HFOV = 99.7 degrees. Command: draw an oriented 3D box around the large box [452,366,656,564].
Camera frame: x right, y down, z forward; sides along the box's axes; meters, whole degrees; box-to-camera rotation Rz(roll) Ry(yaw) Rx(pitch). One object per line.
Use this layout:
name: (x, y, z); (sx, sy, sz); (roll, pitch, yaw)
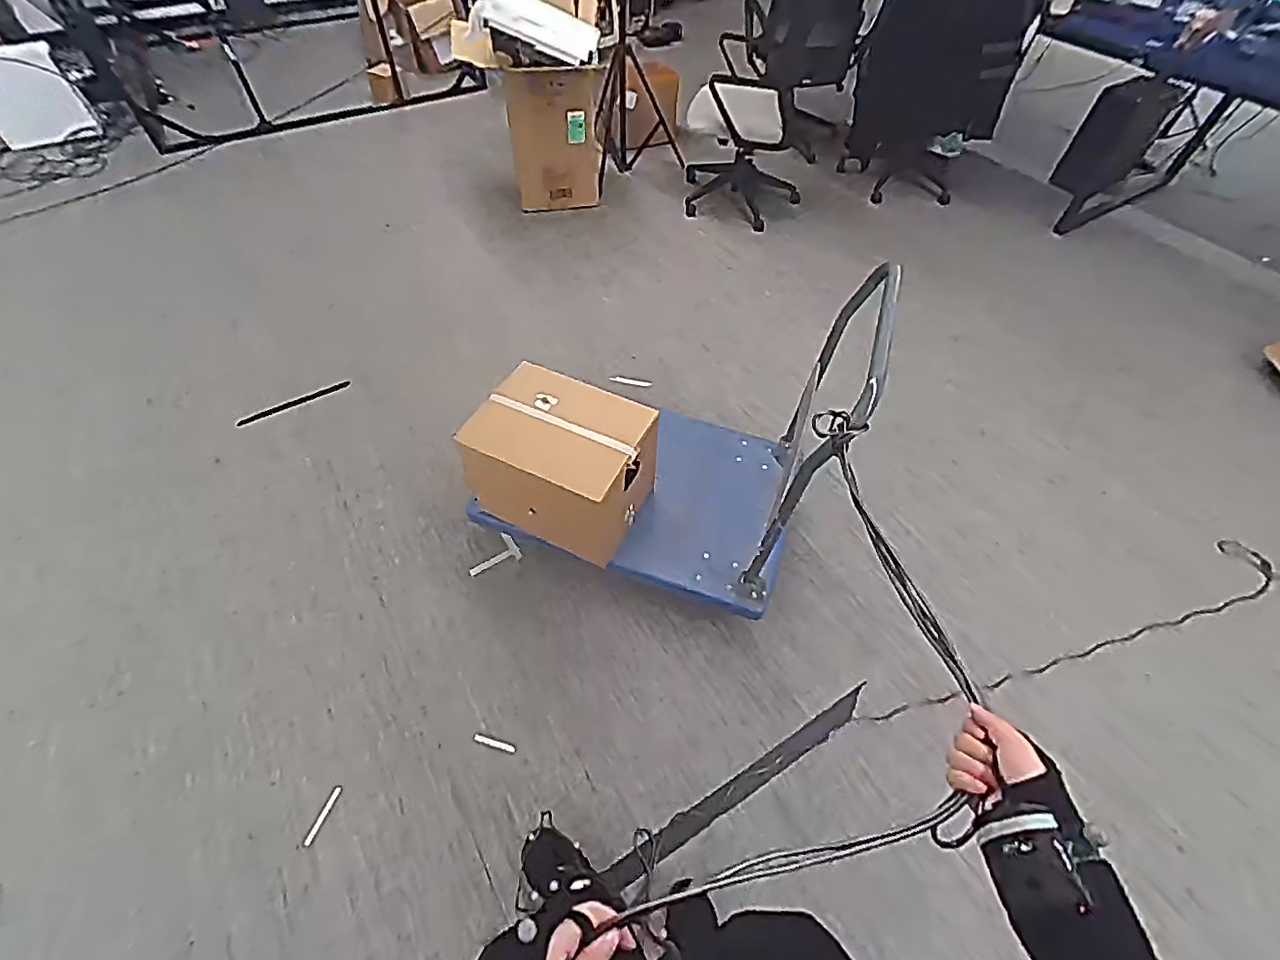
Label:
large box: (-0.200, -0.037, 1.419); (0.408, 0.320, 0.320); (22, 55, 15)
